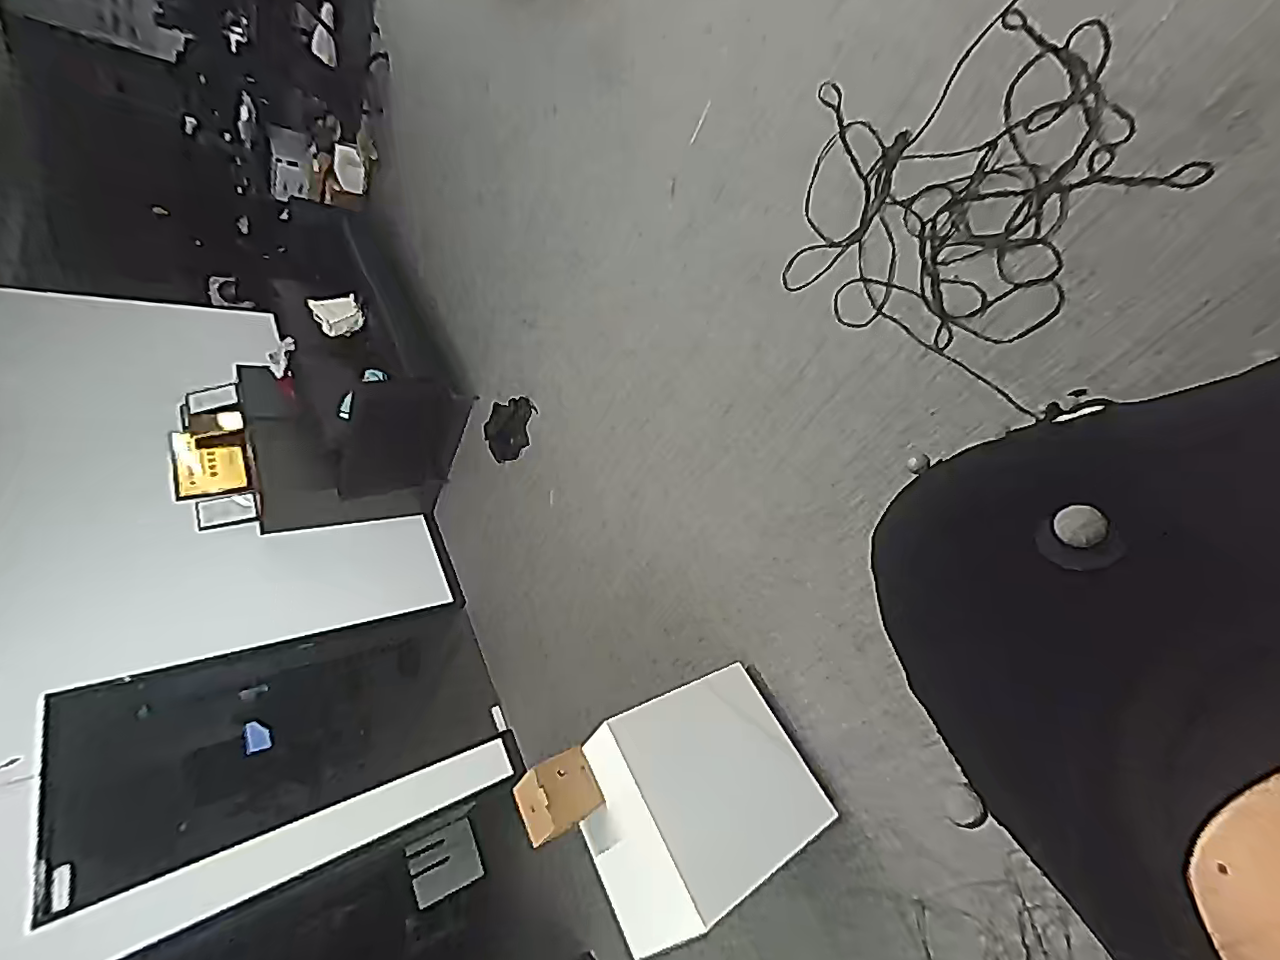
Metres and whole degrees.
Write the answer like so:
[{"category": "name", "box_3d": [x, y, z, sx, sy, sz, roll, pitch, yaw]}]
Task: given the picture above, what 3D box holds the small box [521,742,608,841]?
[{"category": "small box", "box_3d": [-0.213, 0.882, 1.544, 0.168, 0.176, 0.179, 57, 134, 30]}]
